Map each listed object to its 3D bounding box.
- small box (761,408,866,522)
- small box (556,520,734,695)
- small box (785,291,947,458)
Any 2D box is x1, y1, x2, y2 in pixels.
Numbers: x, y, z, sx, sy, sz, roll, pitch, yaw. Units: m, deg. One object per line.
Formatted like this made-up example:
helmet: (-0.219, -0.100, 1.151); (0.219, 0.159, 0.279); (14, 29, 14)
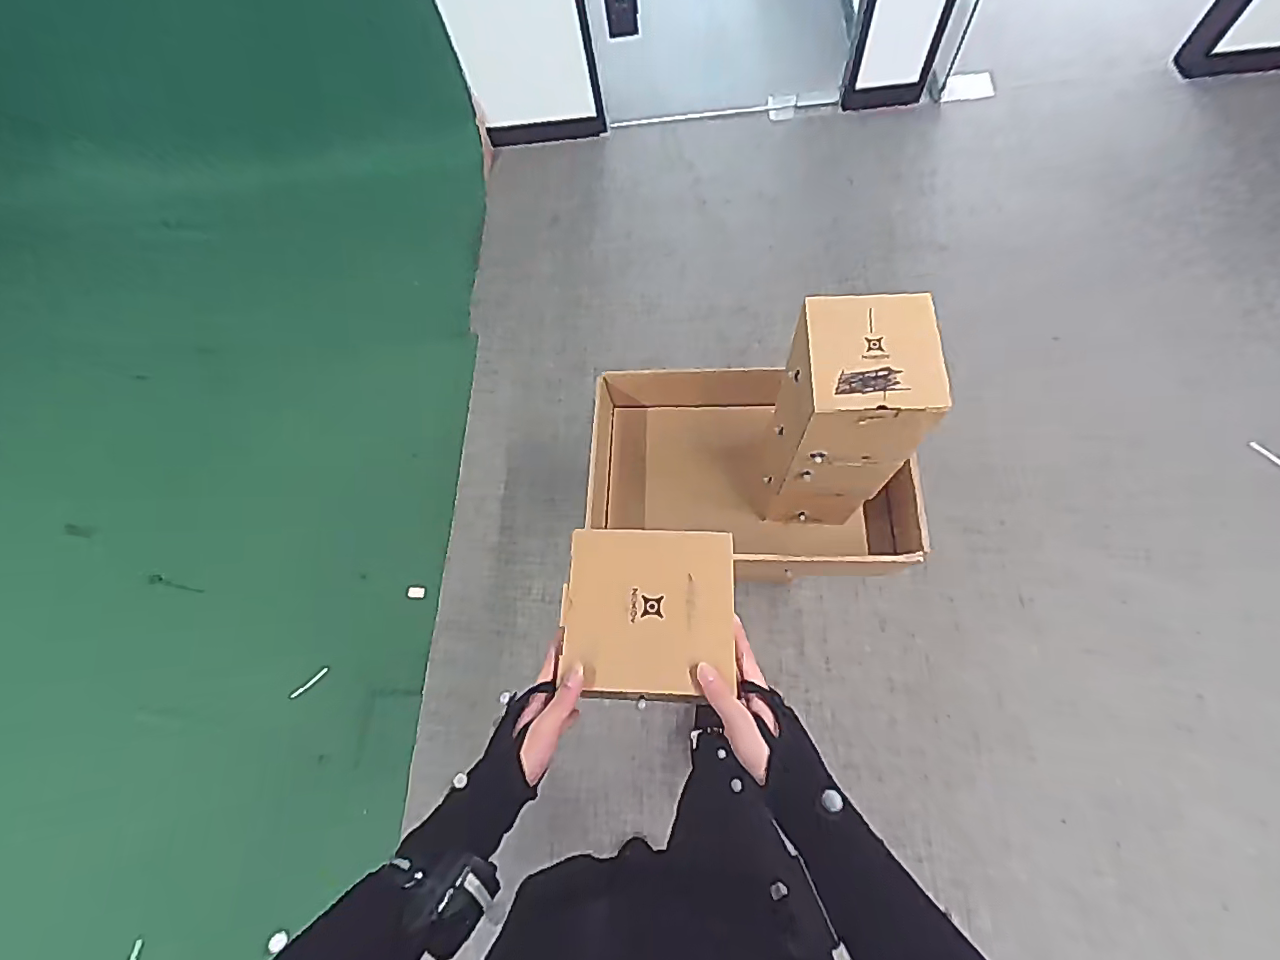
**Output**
small box: (0.333, -0.026, 1.070); (0.168, 0.176, 0.179); (1, 70, 6)
small box: (0.013, 0.154, 0.625); (0.179, 0.176, 0.168); (2, 65, 4)
small box: (0.303, -0.139, 0.763); (0.168, 0.176, 0.179); (0, 69, 6)
